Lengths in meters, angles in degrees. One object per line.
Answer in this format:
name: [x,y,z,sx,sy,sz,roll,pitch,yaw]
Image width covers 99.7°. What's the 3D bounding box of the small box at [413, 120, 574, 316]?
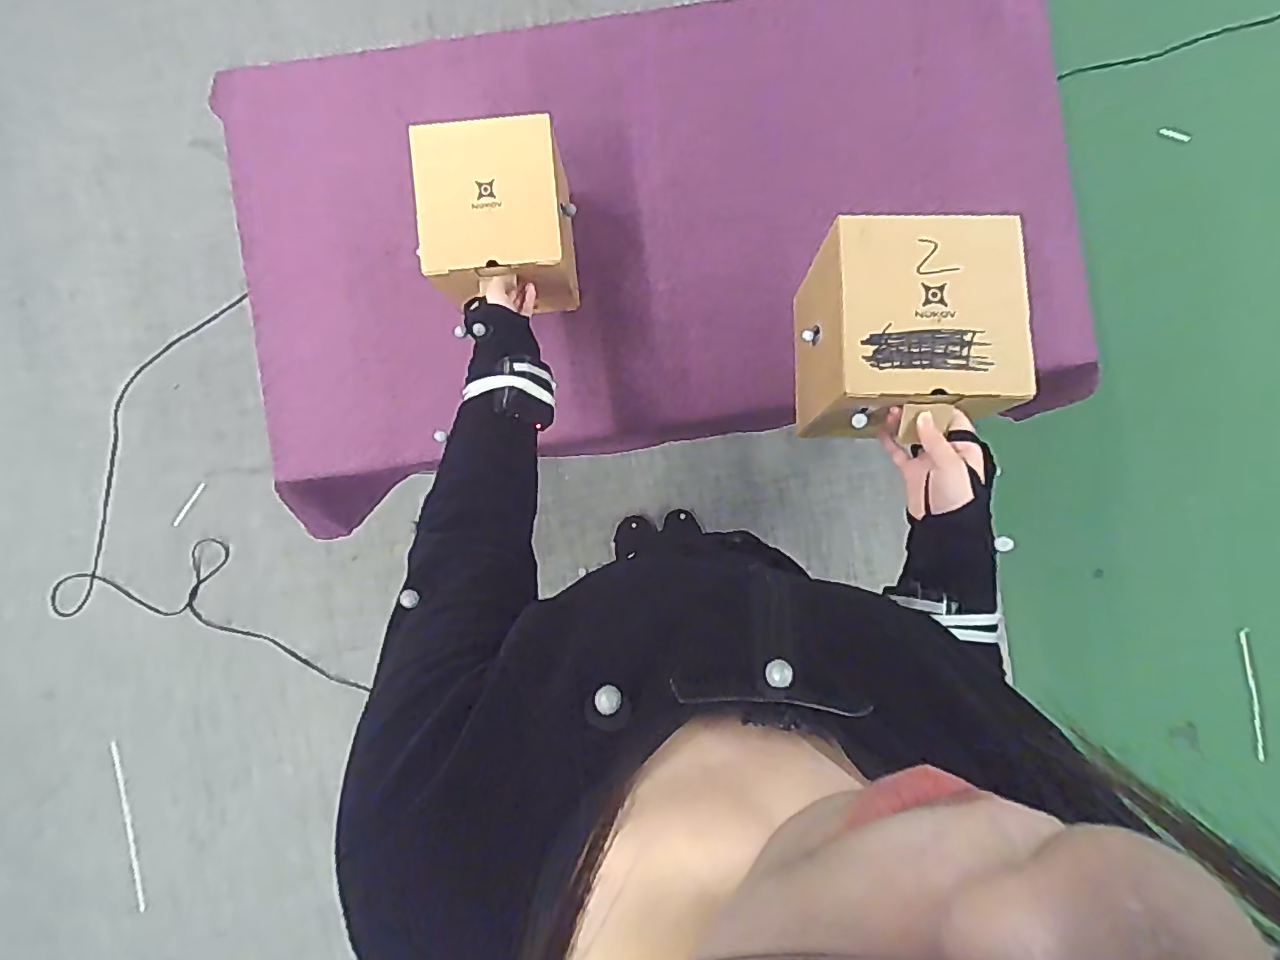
small box: [-0.183,-0.335,0.720,0.168,0.176,0.179,-5,90,0]
